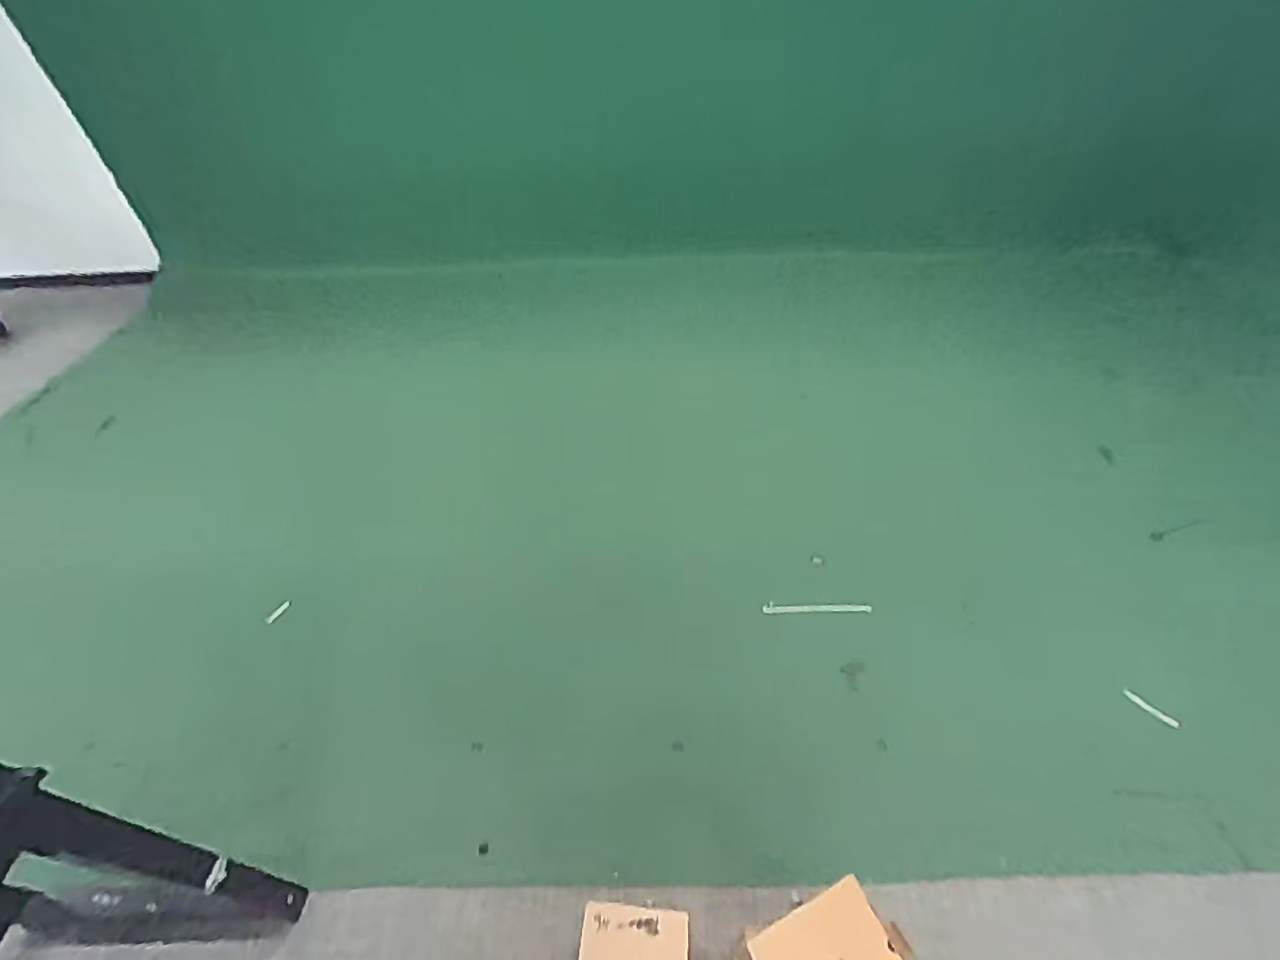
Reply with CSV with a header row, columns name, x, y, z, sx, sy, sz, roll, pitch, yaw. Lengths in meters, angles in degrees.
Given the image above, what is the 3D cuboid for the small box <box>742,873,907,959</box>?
name,x,y,z,sx,sy,sz,roll,pitch,yaw
small box,0.248,0.666,0.715,0.179,0.176,0.168,-19,48,-16

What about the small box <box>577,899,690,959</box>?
name,x,y,z,sx,sy,sz,roll,pitch,yaw
small box,-0.009,0.782,0.841,0.168,0.176,0.179,2,46,6
